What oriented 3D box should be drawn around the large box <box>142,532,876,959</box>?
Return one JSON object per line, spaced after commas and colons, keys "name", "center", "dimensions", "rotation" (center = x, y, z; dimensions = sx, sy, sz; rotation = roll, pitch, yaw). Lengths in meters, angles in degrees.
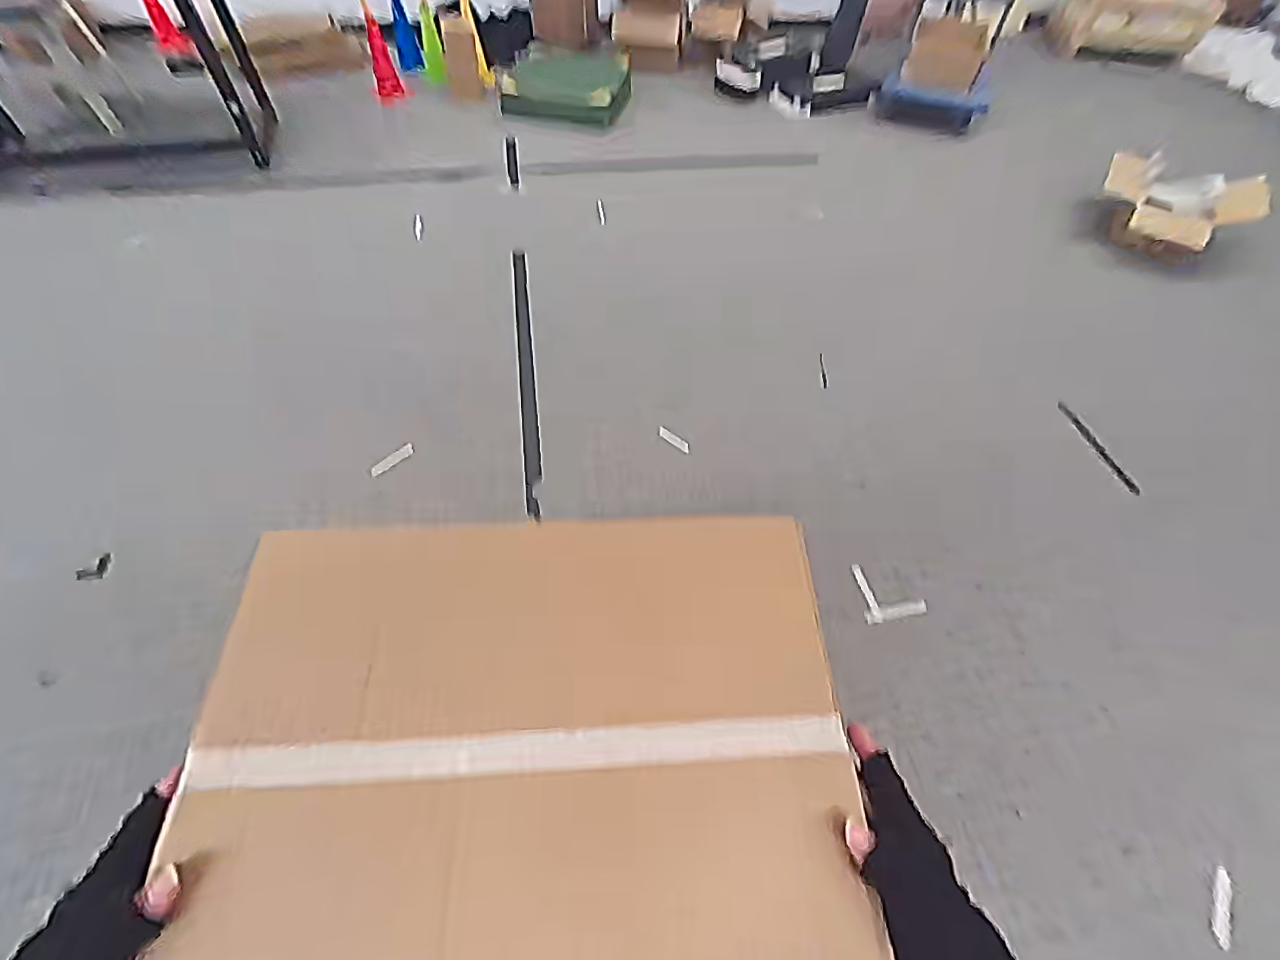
{"name": "large box", "center": [-0.076, 0.254, 0.471], "dimensions": [0.408, 0.320, 0.320], "rotation": [-1, 59, -3]}
